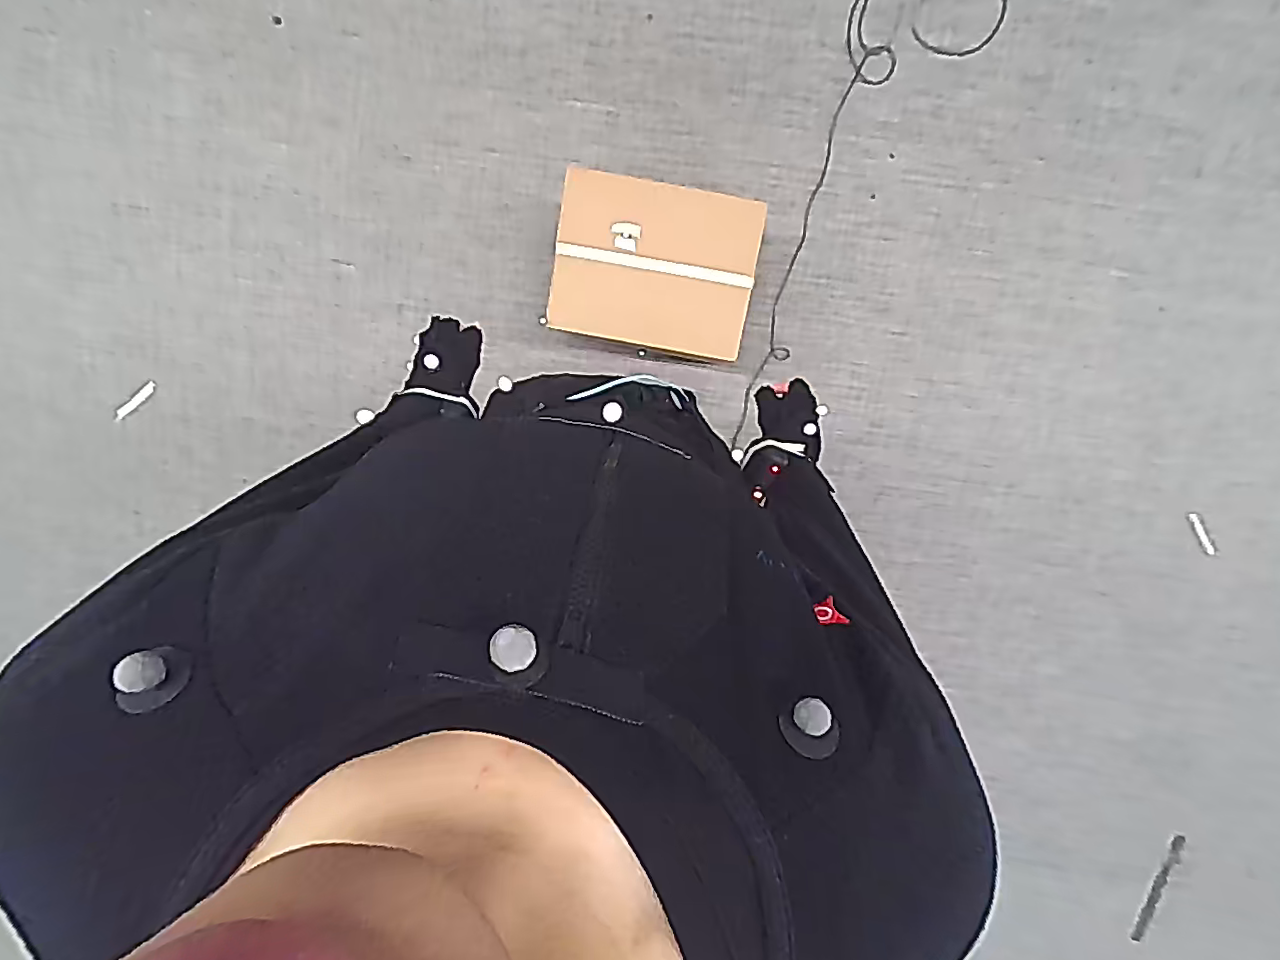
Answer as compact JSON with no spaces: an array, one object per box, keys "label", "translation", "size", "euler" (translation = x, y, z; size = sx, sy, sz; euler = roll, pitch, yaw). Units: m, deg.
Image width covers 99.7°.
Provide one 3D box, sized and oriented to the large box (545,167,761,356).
[{"label":"large box","translation":[0.029,-0.470,1.240],"size":[0.408,0.320,0.320],"euler":[11,101,0]}]
